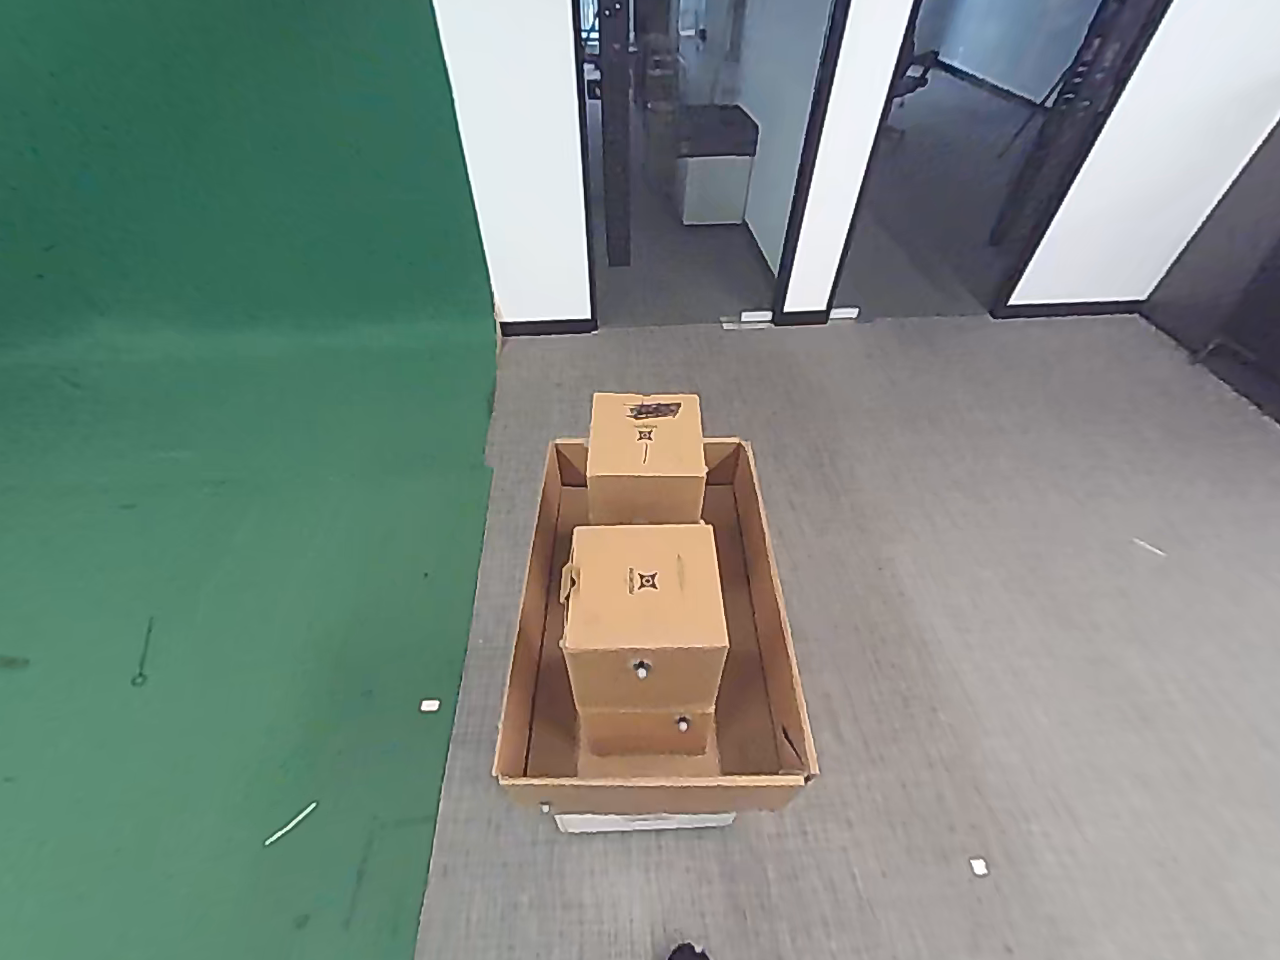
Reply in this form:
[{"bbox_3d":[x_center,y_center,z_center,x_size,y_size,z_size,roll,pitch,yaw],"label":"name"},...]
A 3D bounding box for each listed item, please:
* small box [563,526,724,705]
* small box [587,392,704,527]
[{"bbox_3d":[0.003,0.173,0.684,0.179,0.176,0.168,0,47,-2],"label":"small box"},{"bbox_3d":[0.007,-0.016,0.854,0.168,0.176,0.179,2,50,0],"label":"small box"}]
